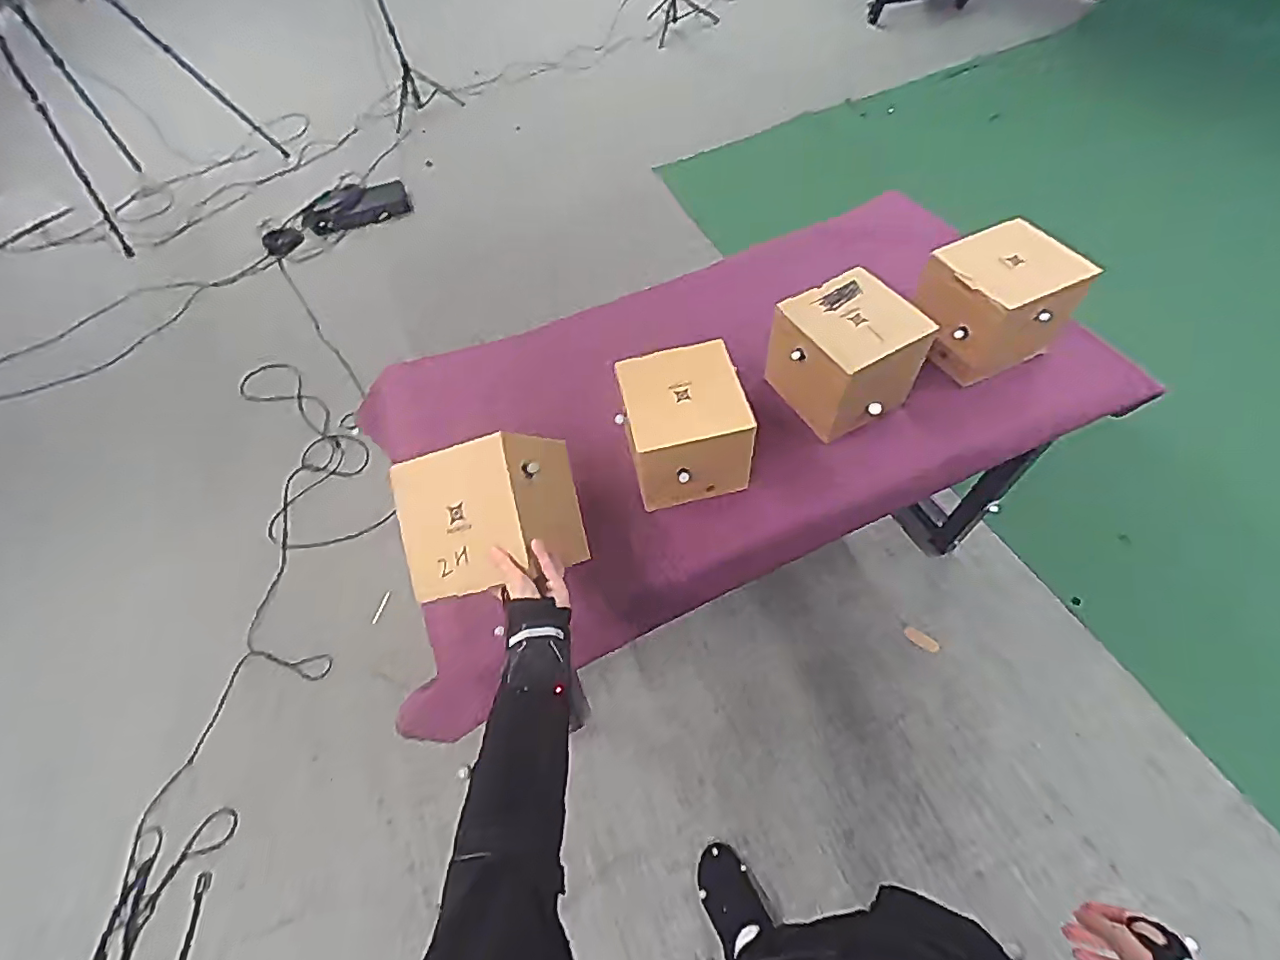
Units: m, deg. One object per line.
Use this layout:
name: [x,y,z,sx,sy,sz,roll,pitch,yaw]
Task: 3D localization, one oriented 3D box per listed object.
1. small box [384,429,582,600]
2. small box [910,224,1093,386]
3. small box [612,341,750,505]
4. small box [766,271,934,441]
small box: [-0.195,0.043,0.709,0.168,0.176,0.179,-15,86,17]
small box: [0.577,-0.286,0.903,0.179,0.176,0.168,-22,57,-8]
small box: [0.062,-0.077,0.826,0.168,0.176,0.179,-13,56,-2]
small box: [0.322,-0.197,0.874,0.168,0.176,0.179,-27,59,-11]
